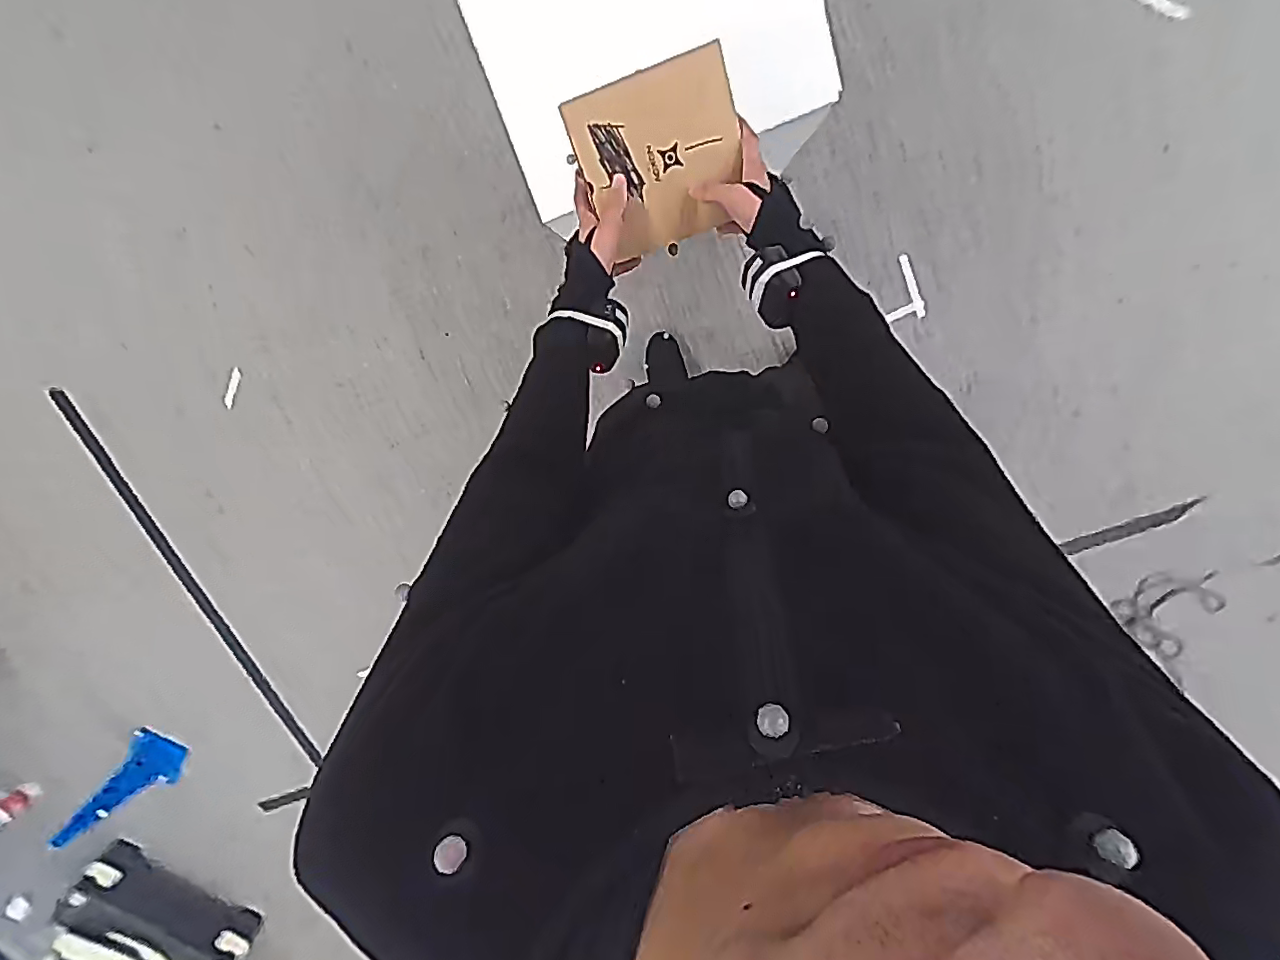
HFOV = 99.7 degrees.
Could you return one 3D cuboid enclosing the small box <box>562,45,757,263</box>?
[{"bbox_3d":[0.022,-0.373,0.654,0.179,0.176,0.168,-18,113,4],"label":"small box"}]
